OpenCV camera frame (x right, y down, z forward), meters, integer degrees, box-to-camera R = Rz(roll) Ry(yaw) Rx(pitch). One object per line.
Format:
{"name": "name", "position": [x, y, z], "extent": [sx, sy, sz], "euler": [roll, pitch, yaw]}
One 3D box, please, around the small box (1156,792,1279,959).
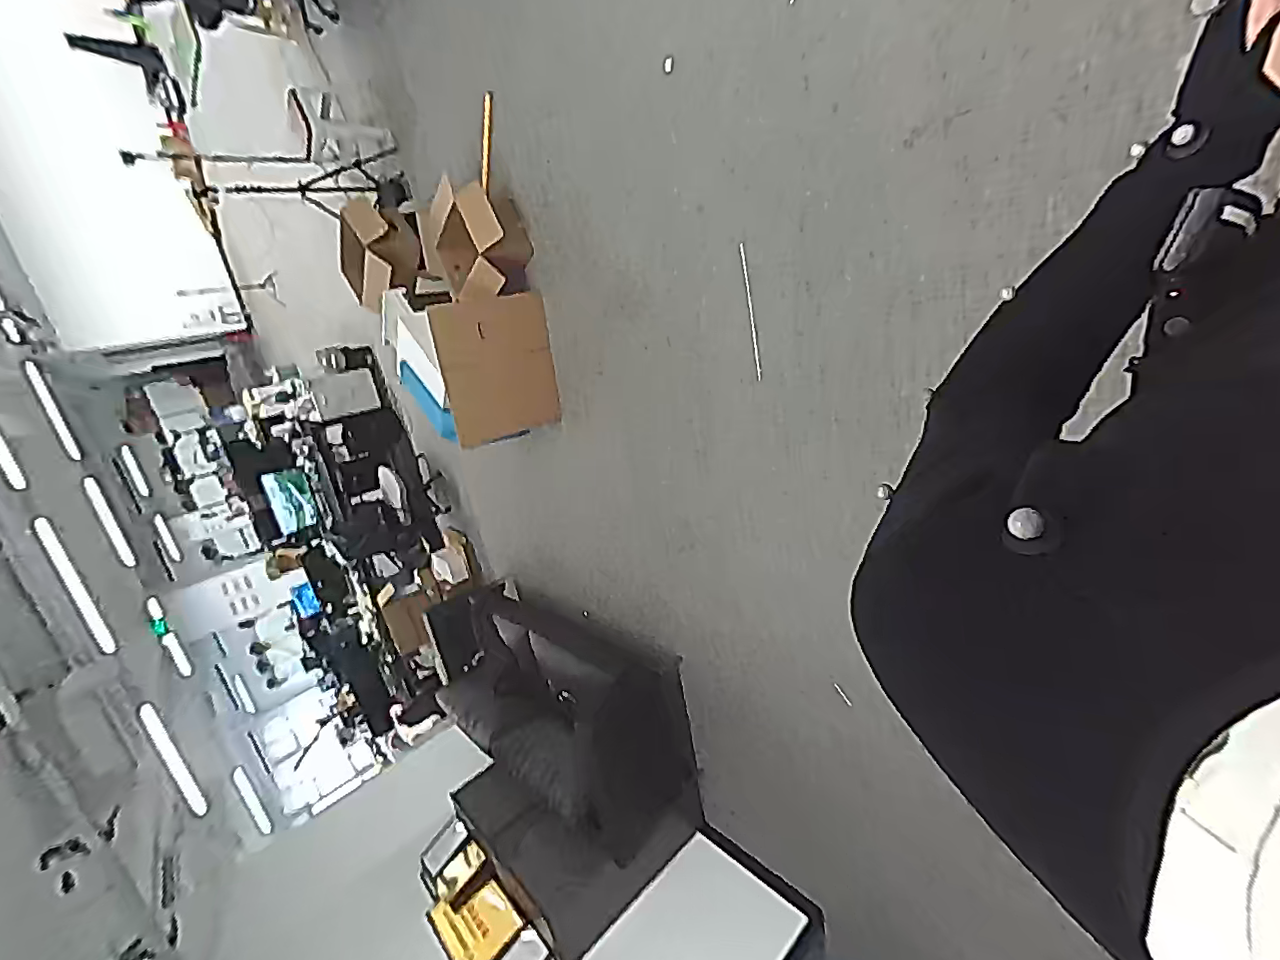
{"name": "small box", "position": [1.038, 0.696, 0.942], "extent": [0.168, 0.176, 0.179], "euler": [15, 121, 45]}

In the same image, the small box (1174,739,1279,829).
{"name": "small box", "position": [1.158, 0.644, 1.039], "extent": [0.168, 0.176, 0.179], "euler": [16, 120, 45]}
